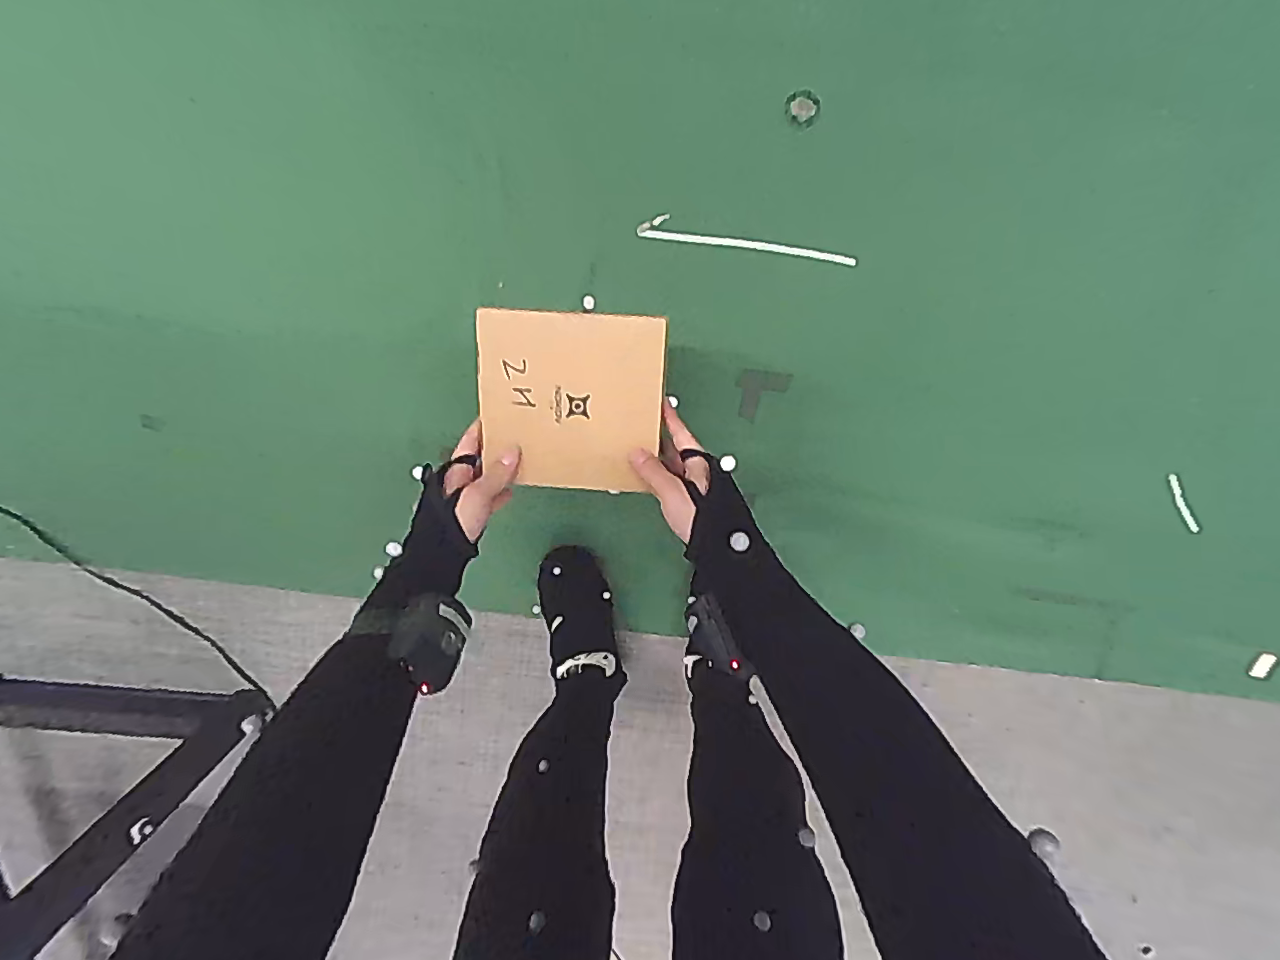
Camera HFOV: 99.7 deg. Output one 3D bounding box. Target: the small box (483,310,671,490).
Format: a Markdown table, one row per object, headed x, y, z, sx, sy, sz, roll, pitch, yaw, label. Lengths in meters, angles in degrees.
| x | y | z | sx | sy | sz | roll | pitch | yaw | label |
| --- | --- | --- | --- | --- | --- | --- | --- | --- | --- |
| -0.058 | -0.096 | 0.593 | 0.179 | 0.176 | 0.168 | 4 | 106 | 3 | small box |
